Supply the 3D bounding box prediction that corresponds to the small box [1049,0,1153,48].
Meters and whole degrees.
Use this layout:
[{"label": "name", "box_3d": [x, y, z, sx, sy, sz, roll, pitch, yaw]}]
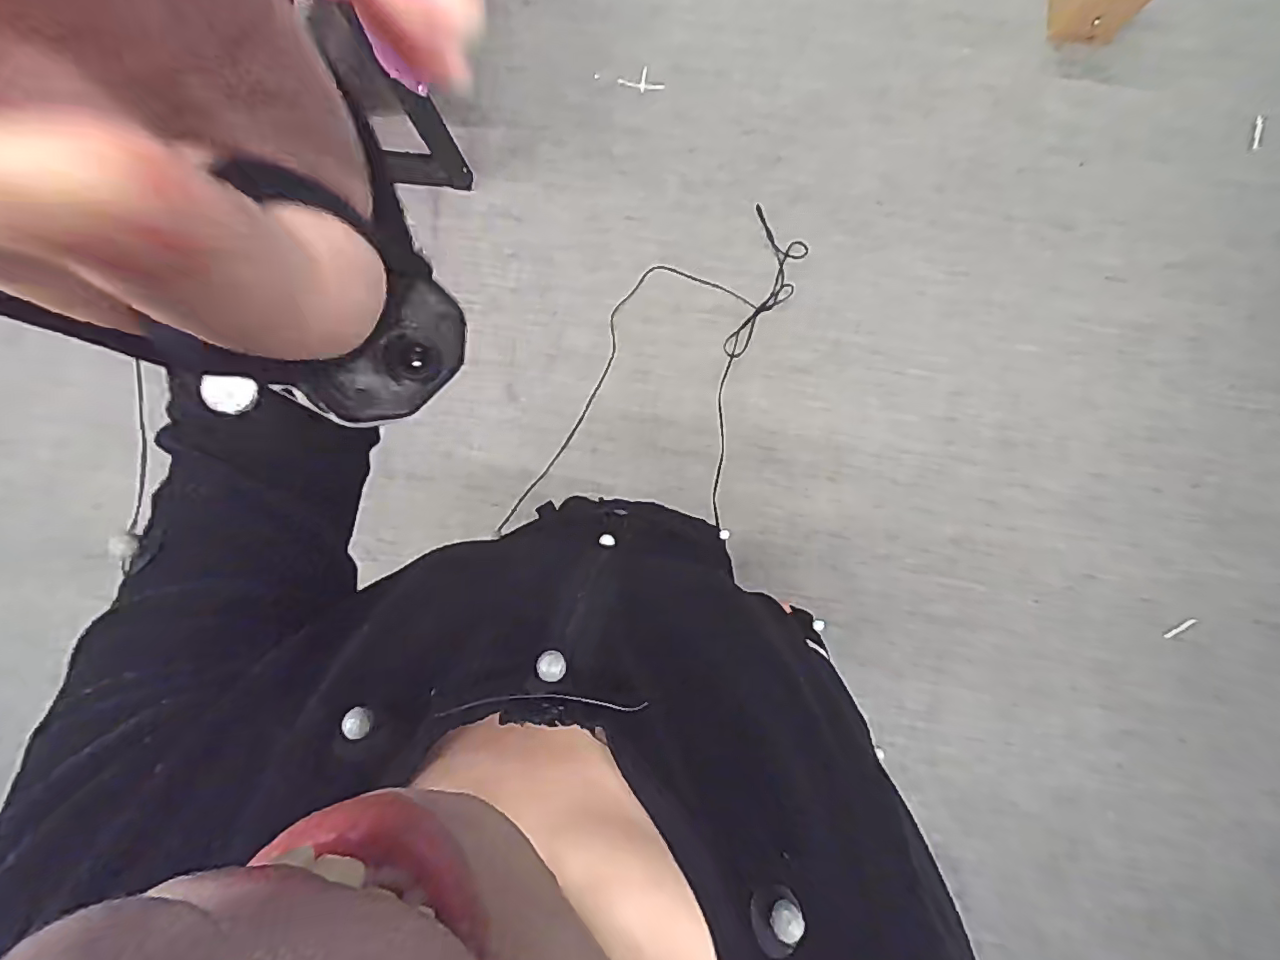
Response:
[{"label": "small box", "box_3d": [1.253, -1.323, 1.464, 0.168, 0.176, 0.179, 7, 88, 1]}]
